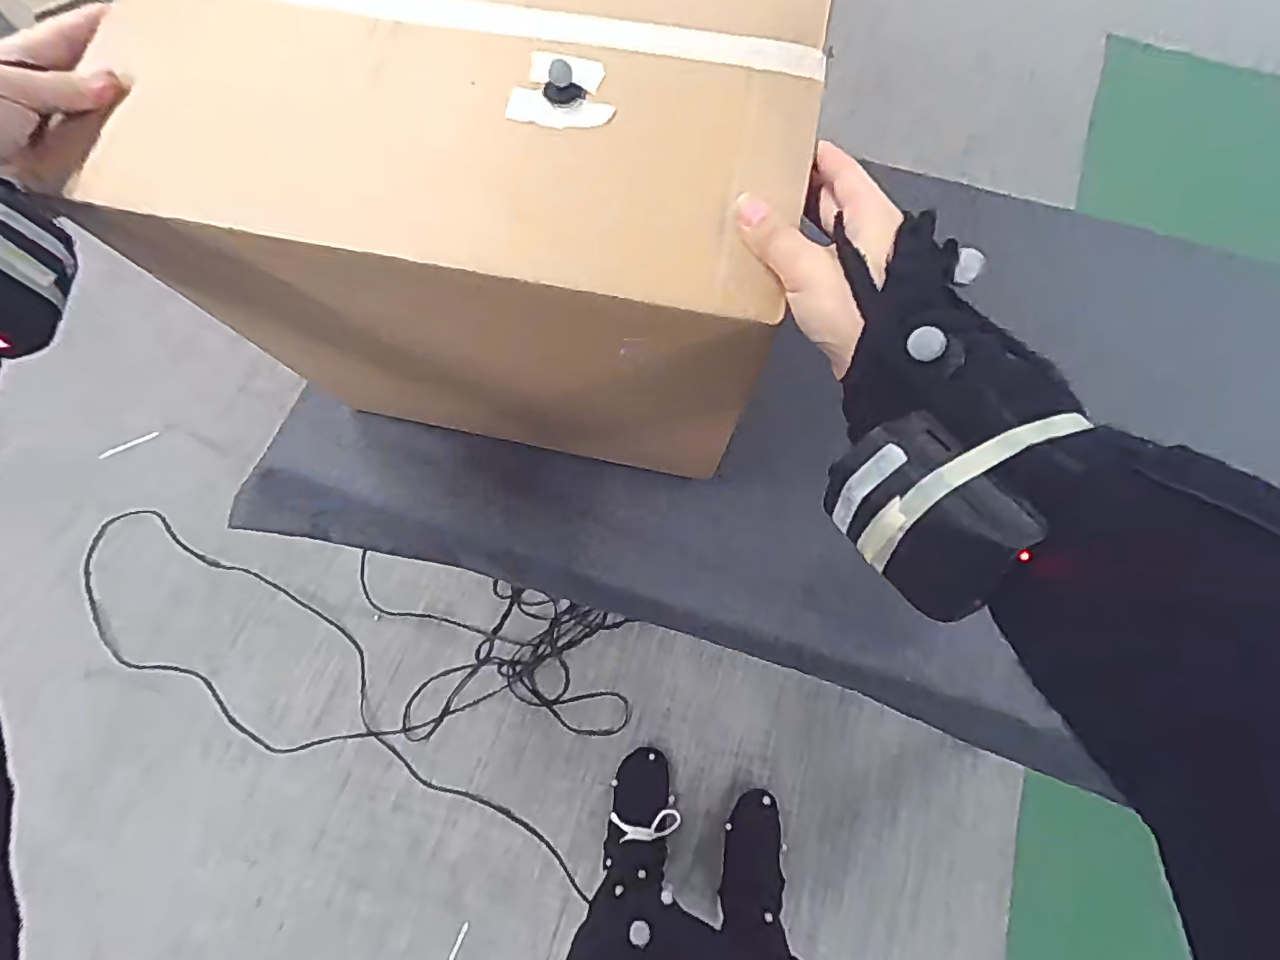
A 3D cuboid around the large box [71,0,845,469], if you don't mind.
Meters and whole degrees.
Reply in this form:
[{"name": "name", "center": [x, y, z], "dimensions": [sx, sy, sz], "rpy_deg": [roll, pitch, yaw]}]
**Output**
[{"name": "large box", "center": [-0.087, -0.225, 0.462], "dimensions": [0.408, 0.320, 0.320], "rpy_deg": [11, 77, 2]}]
